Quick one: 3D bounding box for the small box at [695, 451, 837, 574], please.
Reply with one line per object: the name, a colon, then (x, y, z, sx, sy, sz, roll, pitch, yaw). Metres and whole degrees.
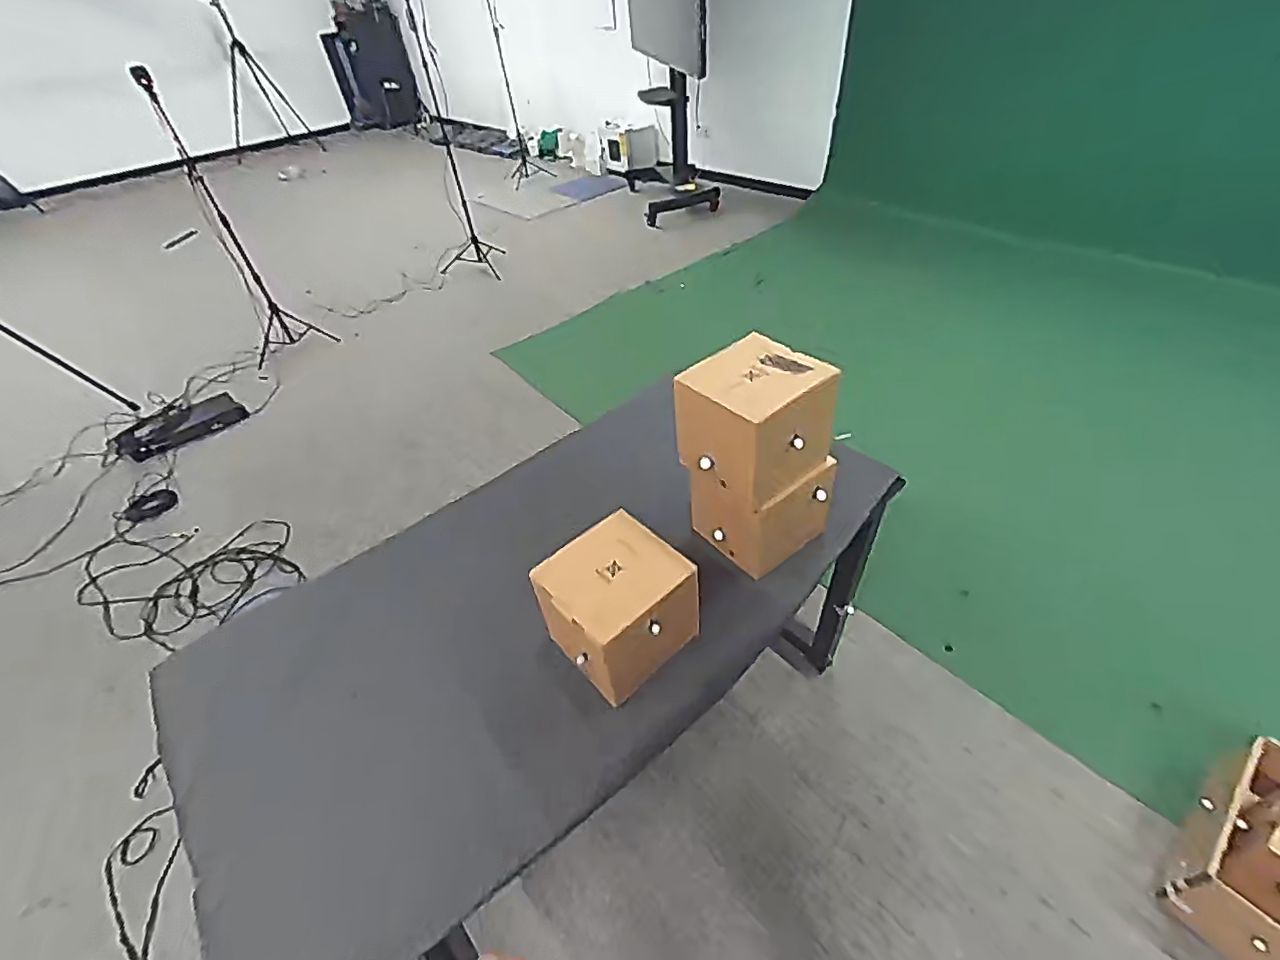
small box: (0.204, 0.025, 0.928, 0.179, 0.176, 0.168, -30, 47, -23)

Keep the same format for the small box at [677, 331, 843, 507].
small box: (0.173, -0.094, 0.817, 0.179, 0.176, 0.168, -32, 48, -23)

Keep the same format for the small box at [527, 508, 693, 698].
small box: (-0.035, 0.180, 0.794, 0.179, 0.176, 0.168, -34, 50, -27)

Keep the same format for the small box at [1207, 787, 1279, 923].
small box: (1.286, 0.755, 1.057, 0.168, 0.176, 0.179, -32, 50, -24)
